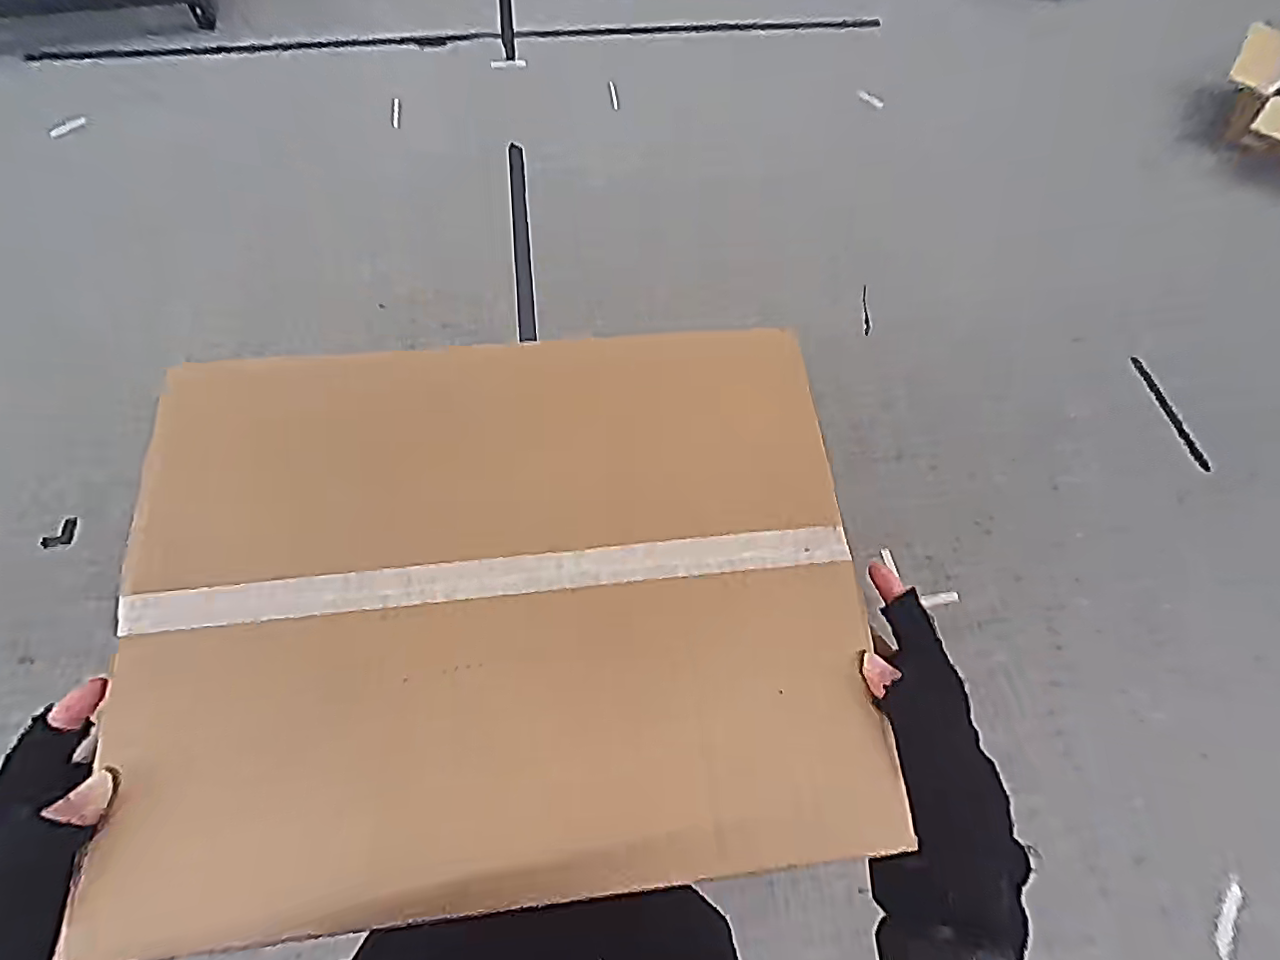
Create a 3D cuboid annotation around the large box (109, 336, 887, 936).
[{"bbox_3d":[-0.086,0.108,0.465,0.408,0.320,0.320,-5,71,-5],"label":"large box"}]
